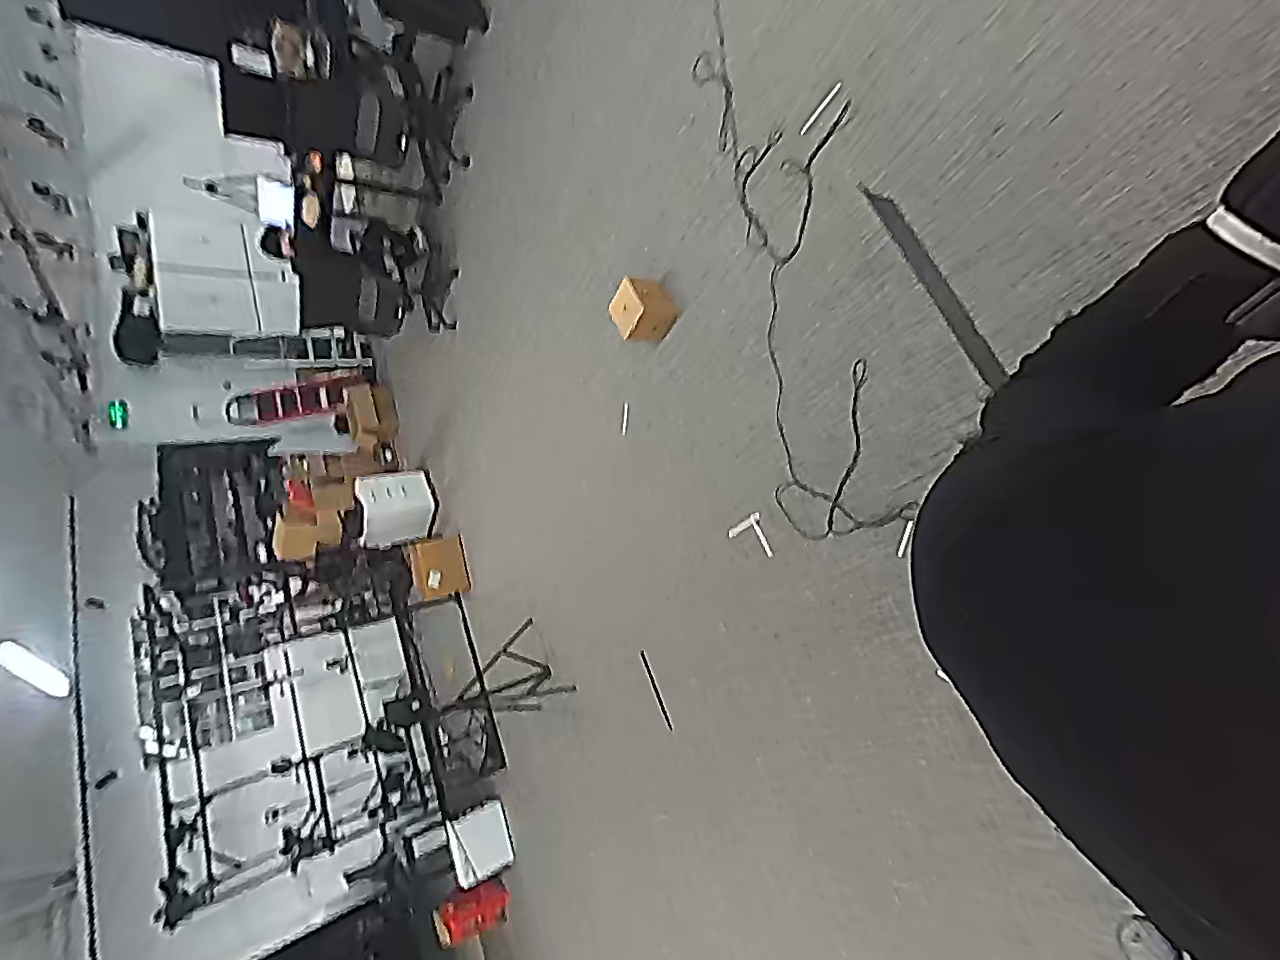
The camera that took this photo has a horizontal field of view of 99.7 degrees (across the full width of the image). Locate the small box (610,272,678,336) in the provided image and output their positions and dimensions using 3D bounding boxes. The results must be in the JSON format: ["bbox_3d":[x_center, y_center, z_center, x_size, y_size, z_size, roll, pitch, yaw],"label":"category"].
[{"bbox_3d":[0.015,-0.674,2.096,0.168,0.176,0.179,-50,59,46],"label":"small box"}]
